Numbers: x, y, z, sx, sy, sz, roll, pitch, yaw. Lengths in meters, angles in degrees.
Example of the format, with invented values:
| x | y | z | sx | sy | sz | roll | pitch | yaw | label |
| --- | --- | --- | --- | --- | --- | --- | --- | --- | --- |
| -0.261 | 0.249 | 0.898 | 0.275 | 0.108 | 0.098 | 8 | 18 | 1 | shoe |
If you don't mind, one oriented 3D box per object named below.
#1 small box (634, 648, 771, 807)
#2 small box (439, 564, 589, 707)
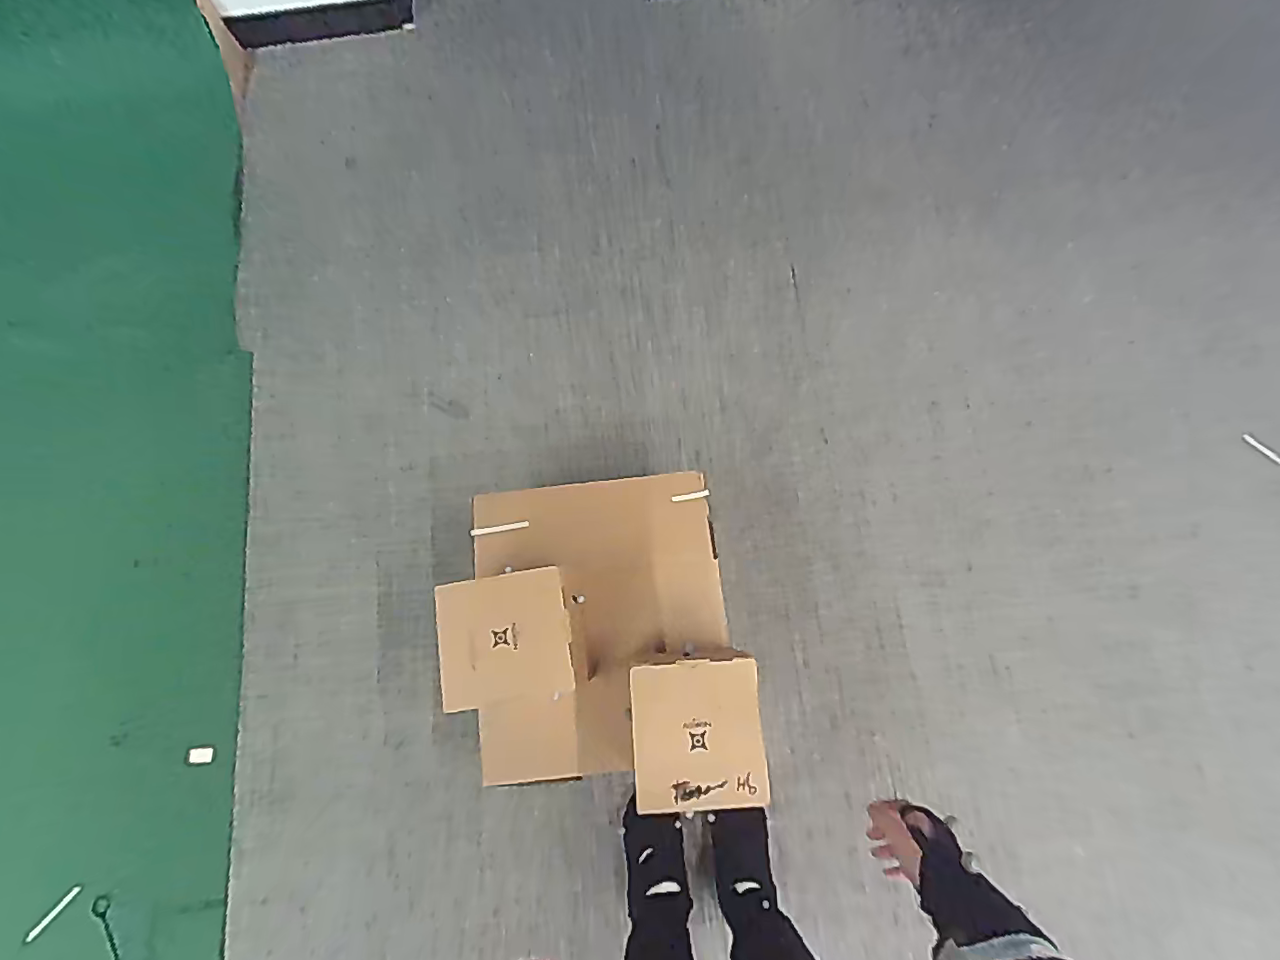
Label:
| x | y | z | sx | sy | sz | roll | pitch | yaw | label |
| --- | --- | --- | --- | --- | --- | --- | --- | --- | --- |
| 0.076 | 0.331 | 0.756 | 0.168 | 0.176 | 0.179 | -3 | 76 | 0 | small box |
| -0.173 | 0.222 | 0.793 | 0.179 | 0.176 | 0.168 | -10 | 75 | 0 | small box |
